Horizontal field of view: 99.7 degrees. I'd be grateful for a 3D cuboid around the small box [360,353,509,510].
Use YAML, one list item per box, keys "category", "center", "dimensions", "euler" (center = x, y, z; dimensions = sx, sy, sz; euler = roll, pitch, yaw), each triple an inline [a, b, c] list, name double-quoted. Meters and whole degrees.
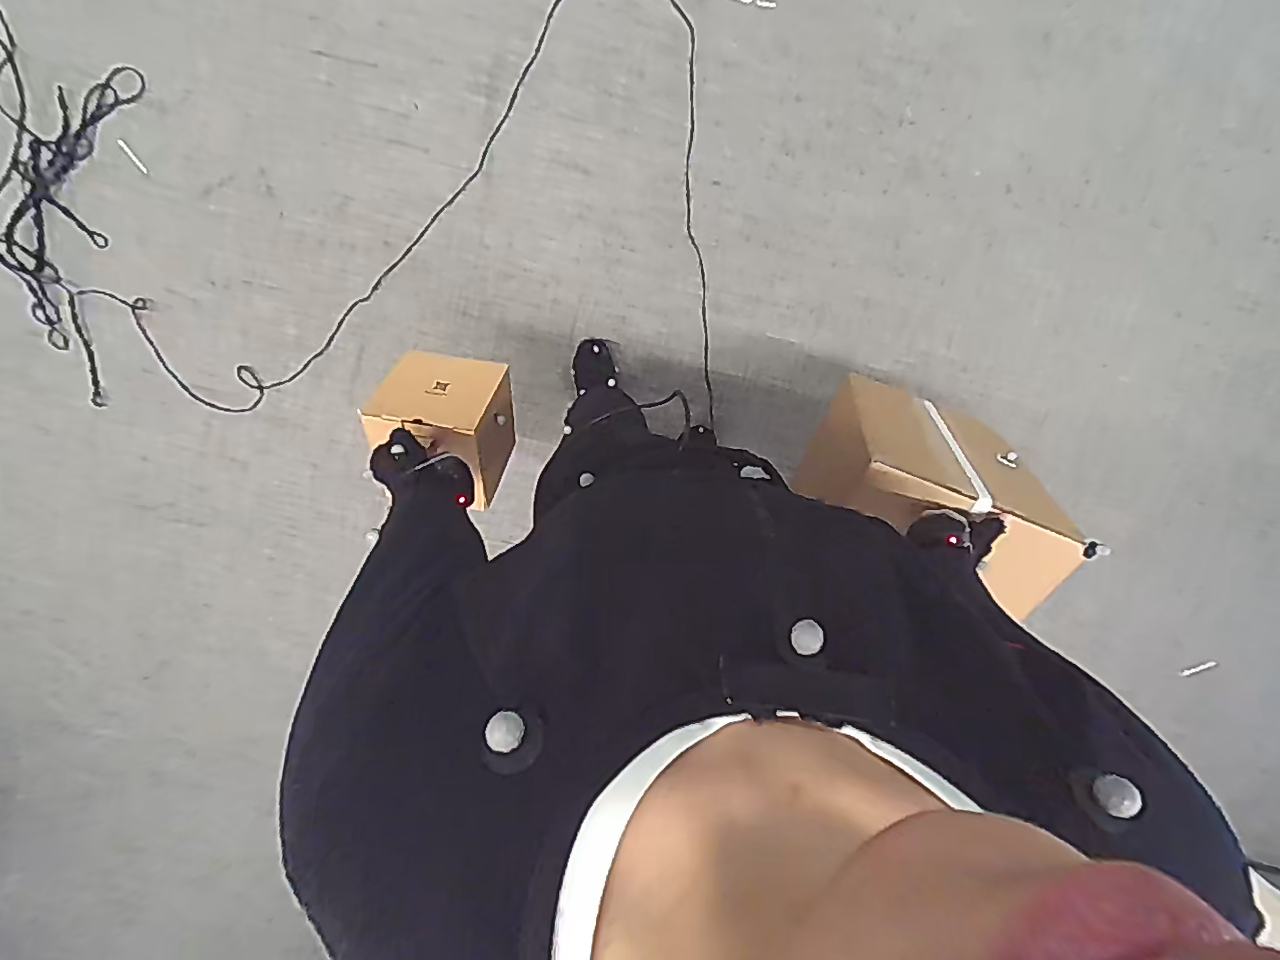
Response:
- category: "small box"
  center: [-0.315, -0.079, 0.874]
  dimensions: [0.168, 0.179, 0.176]
  euler: [8, 134, 0]
